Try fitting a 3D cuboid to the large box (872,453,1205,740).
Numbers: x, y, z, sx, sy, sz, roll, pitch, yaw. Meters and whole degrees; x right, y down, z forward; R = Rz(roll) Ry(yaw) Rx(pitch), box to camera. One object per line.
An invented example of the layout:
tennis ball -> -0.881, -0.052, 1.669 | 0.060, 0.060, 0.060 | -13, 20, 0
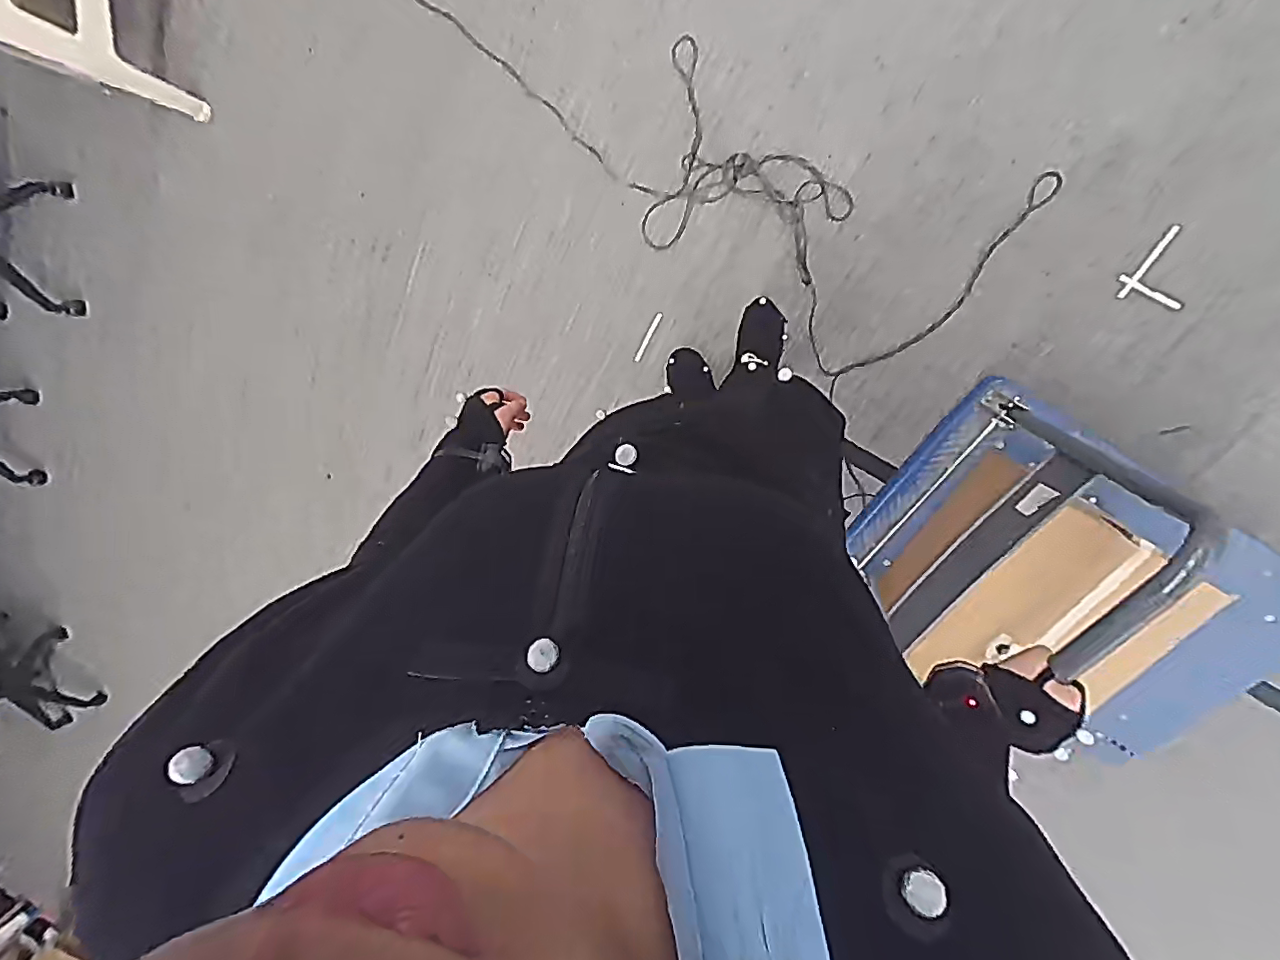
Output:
large box -> 0.742, 0.216, 1.097 | 0.320, 0.320, 0.408 | 30, 114, 3
